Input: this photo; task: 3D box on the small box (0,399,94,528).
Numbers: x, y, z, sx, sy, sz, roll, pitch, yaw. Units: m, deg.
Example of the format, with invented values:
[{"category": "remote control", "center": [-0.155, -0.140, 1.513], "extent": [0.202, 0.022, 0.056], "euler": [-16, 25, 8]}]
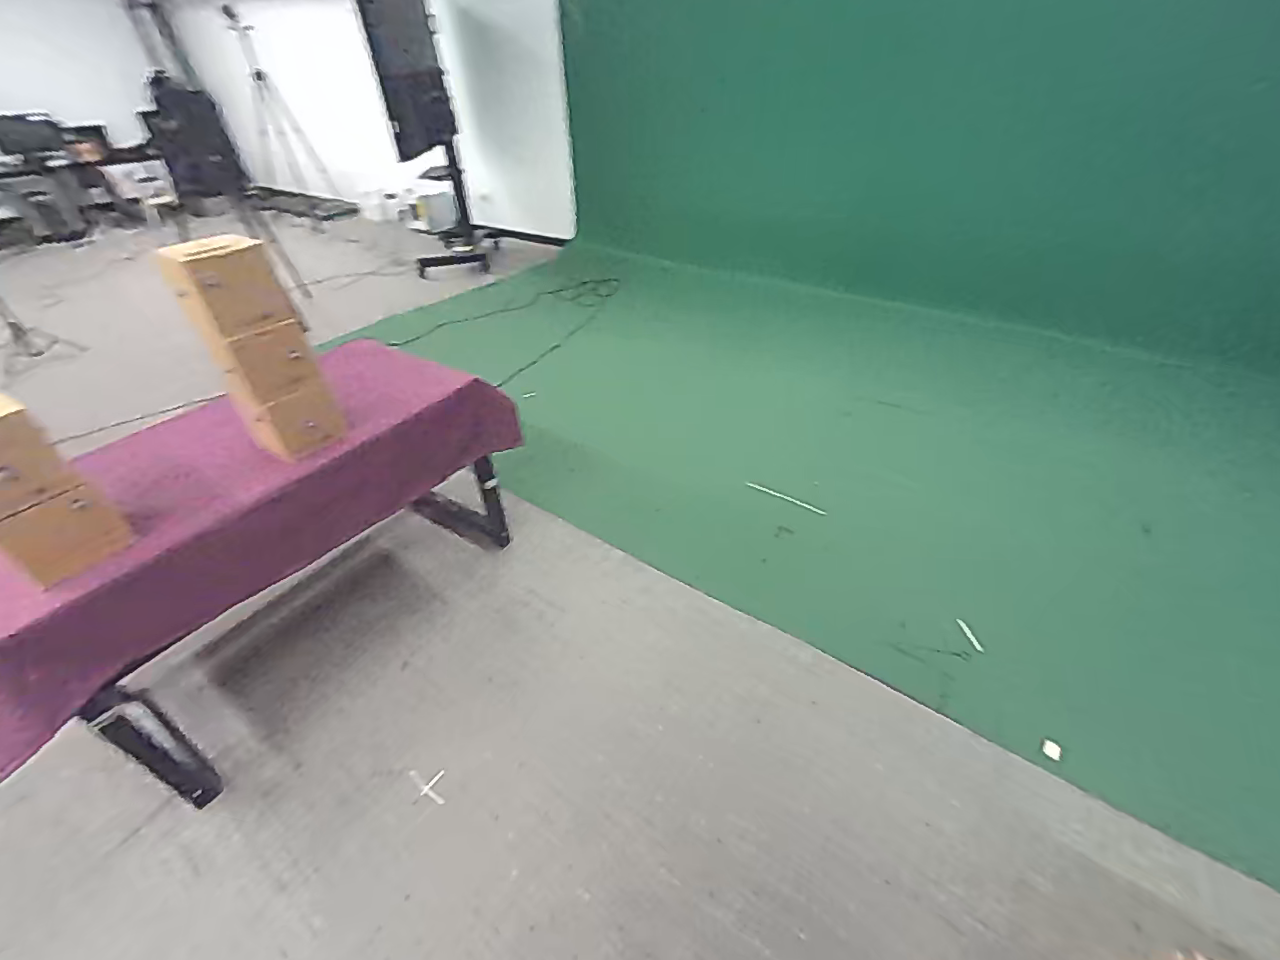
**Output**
[{"category": "small box", "center": [-1.197, -0.027, 1.015], "extent": [0.179, 0.176, 0.168], "euler": [19, 41, 26]}]

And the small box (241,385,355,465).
[{"category": "small box", "center": [-0.899, -0.161, 1.435], "extent": [0.179, 0.176, 0.168], "euler": [21, 44, 29]}]

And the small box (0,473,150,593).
[{"category": "small box", "center": [-1.185, 0.103, 1.116], "extent": [0.168, 0.176, 0.179], "euler": [19, 42, 26]}]

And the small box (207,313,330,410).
[{"category": "small box", "center": [-0.909, -0.292, 1.338], "extent": [0.179, 0.176, 0.168], "euler": [23, 44, 30]}]
